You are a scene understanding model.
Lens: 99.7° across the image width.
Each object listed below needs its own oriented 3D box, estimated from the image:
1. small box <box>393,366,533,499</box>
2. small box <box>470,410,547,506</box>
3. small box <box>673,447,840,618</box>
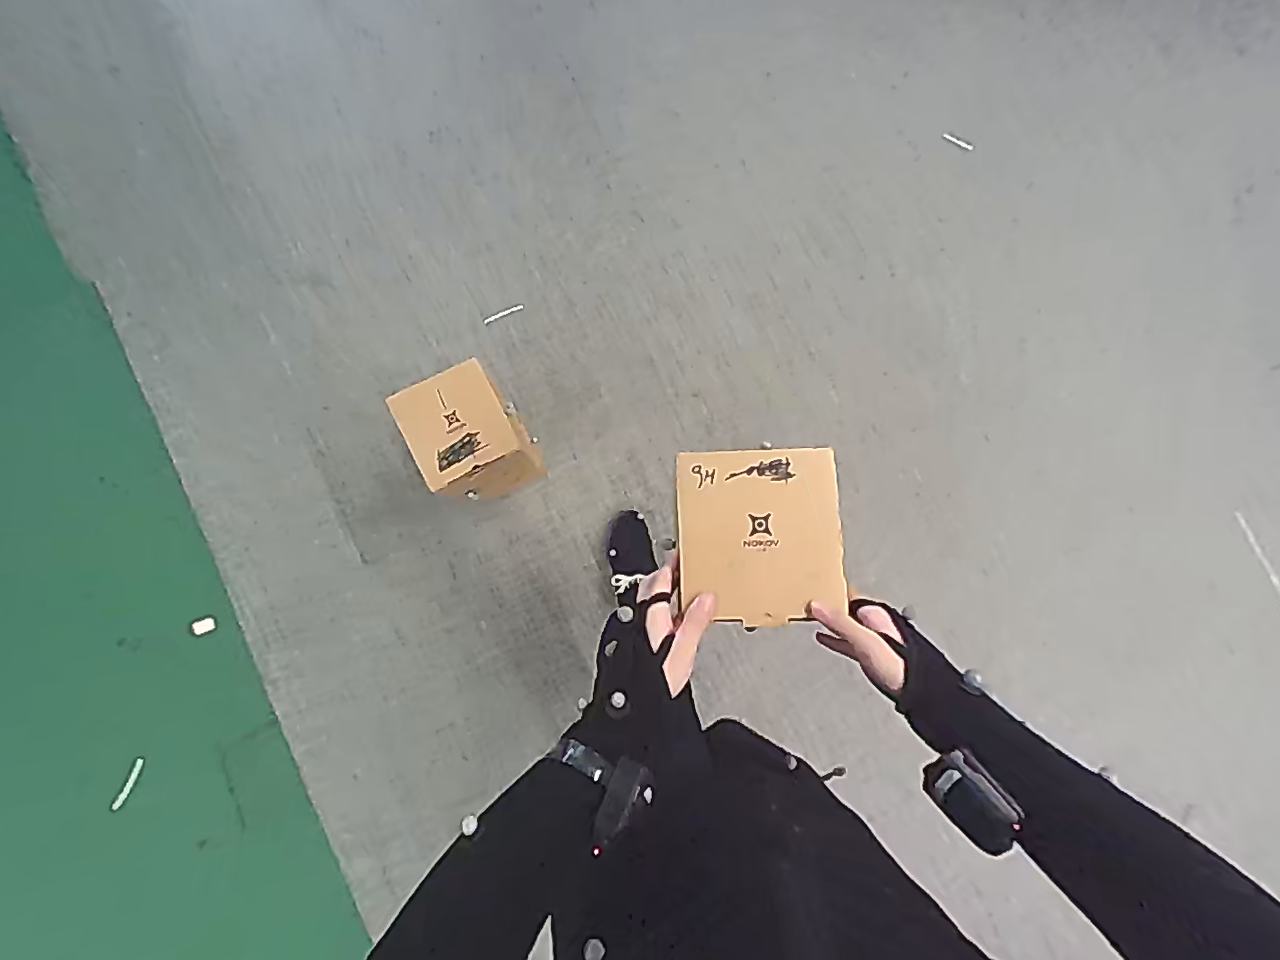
[{"bbox_3d":[-0.309,-0.075,0.985,0.168,0.176,0.179,-27,85,-7],"label":"small box"},{"bbox_3d":[-0.339,-0.045,1.311,0.179,0.176,0.168,-25,86,-8],"label":"small box"},{"bbox_3d":[0.123,0.066,0.638,0.168,0.176,0.179,-2,79,2],"label":"small box"}]
